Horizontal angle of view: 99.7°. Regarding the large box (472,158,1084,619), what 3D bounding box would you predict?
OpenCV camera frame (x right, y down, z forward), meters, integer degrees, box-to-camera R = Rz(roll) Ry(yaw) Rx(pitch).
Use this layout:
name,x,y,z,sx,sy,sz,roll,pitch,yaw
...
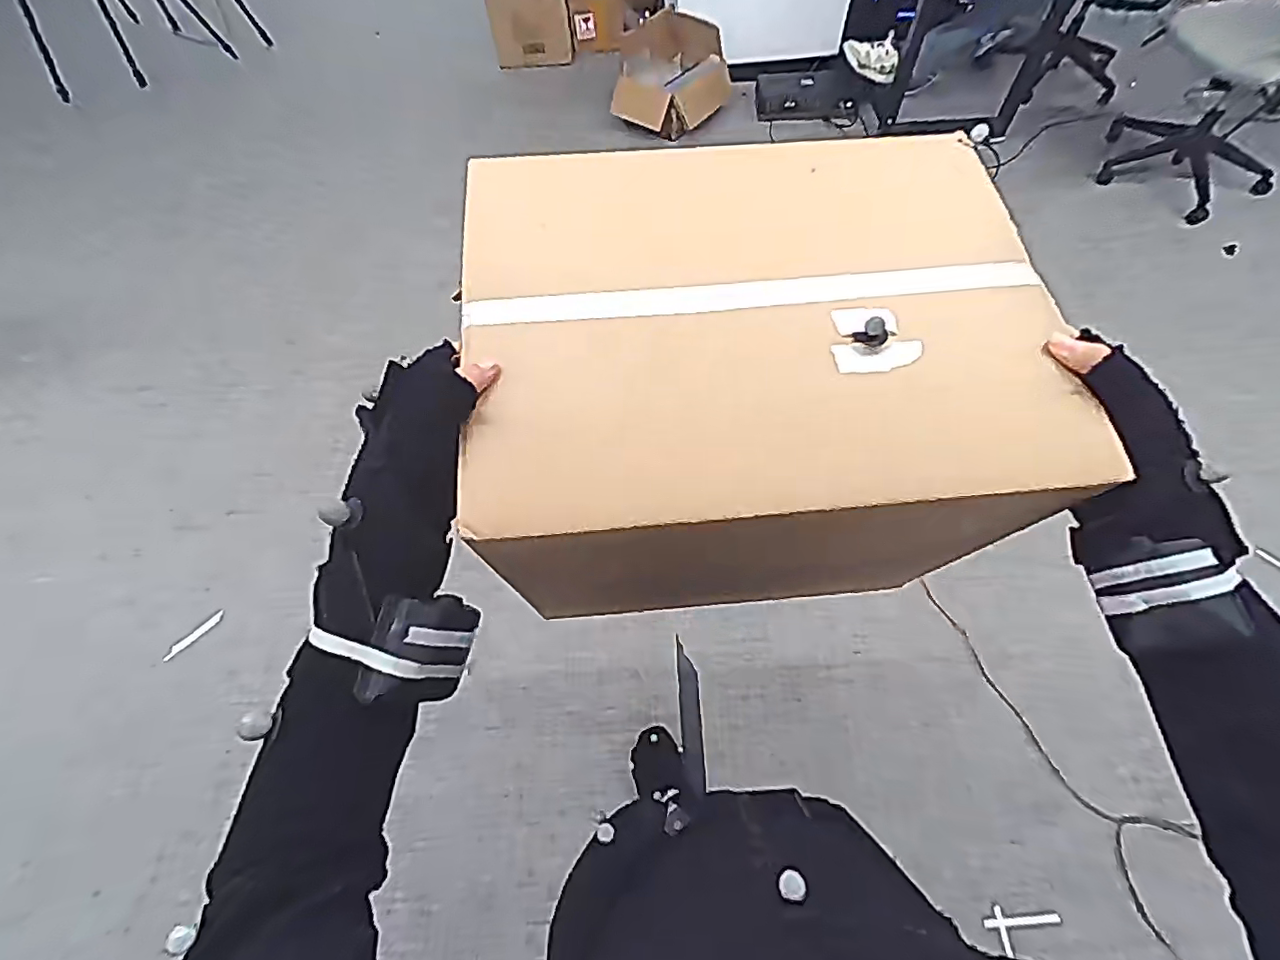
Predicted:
name,x,y,z,sx,sy,sz,roll,pitch,yaw
large box,0.073,-0.063,0.534,0.408,0.320,0.320,-5,67,-3
